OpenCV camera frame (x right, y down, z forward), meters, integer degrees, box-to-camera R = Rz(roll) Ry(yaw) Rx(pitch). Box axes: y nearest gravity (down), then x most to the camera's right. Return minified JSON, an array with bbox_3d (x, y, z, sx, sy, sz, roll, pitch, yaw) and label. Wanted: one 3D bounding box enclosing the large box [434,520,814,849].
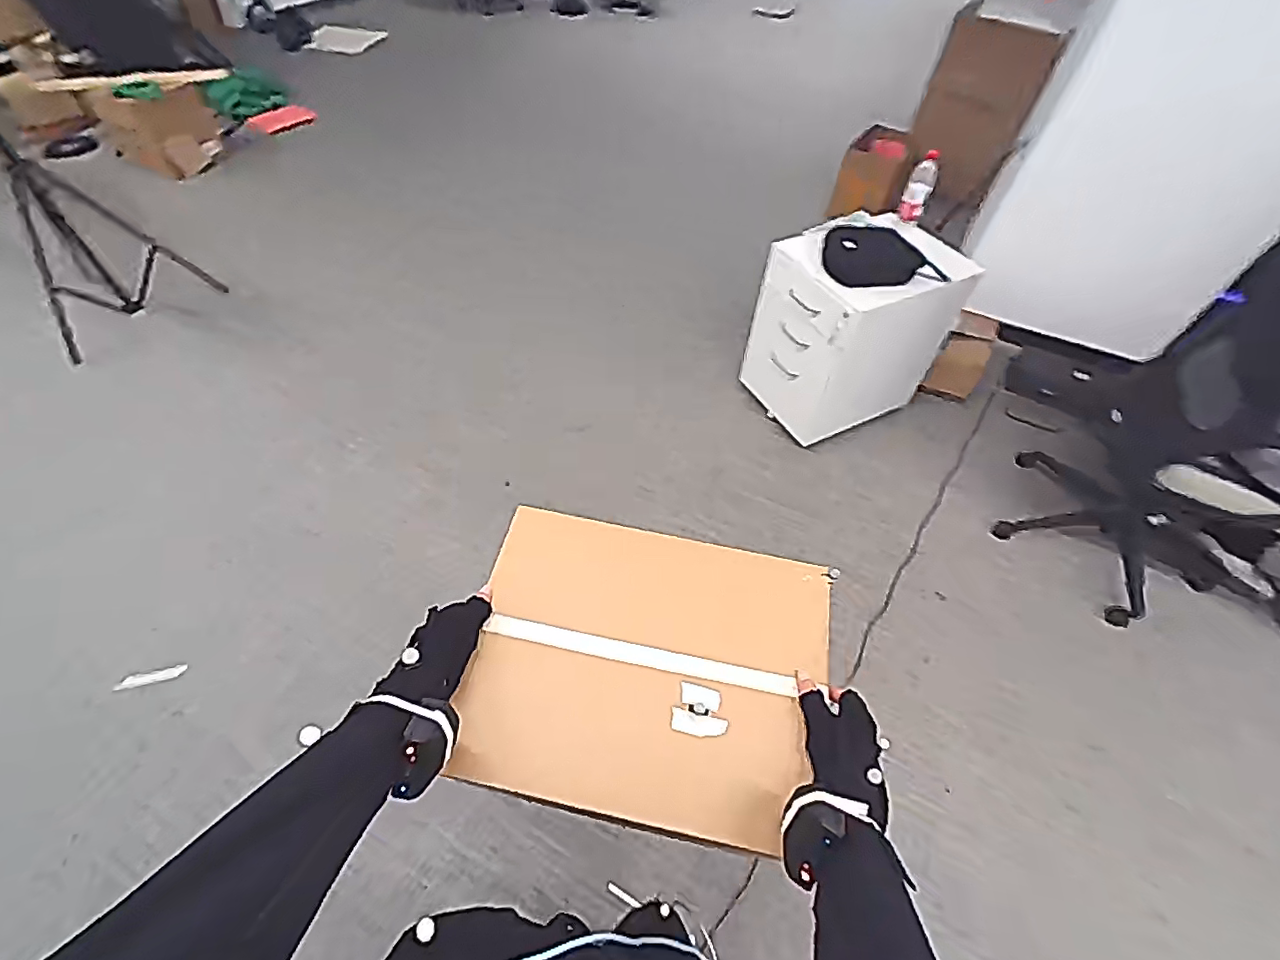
[{"bbox_3d":[-0.006,0.290,0.754,0.408,0.320,0.320,11,58,3],"label":"large box"}]
